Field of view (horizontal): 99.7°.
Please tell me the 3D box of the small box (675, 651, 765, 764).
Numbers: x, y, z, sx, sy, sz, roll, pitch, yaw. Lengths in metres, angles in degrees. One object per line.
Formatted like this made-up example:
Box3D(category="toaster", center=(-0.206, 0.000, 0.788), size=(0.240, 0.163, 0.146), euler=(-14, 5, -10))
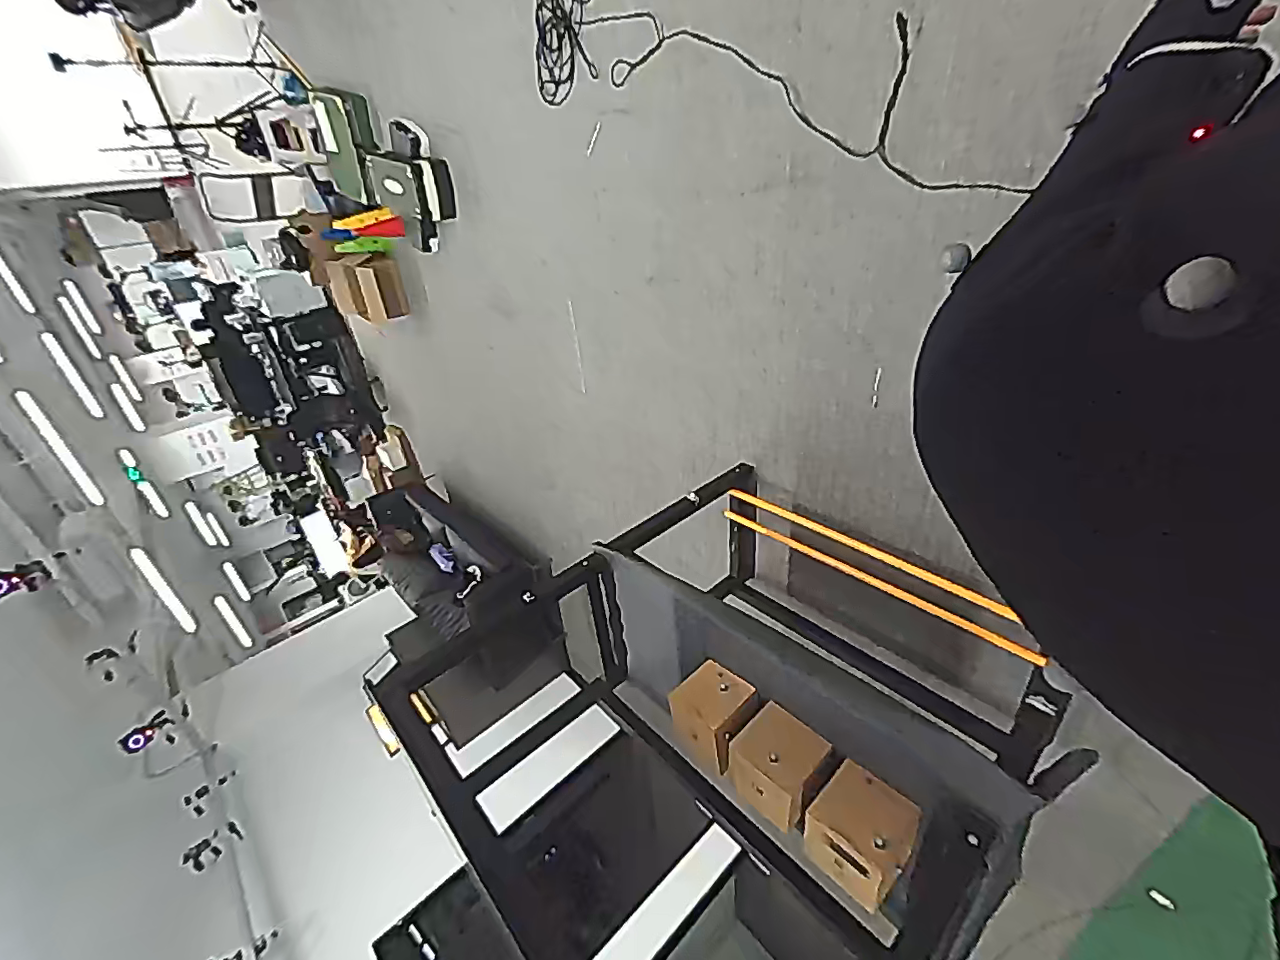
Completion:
Box3D(category="small box", center=(0.218, 0.599, 1.441), size=(0.168, 0.176, 0.179), euler=(20, 129, 45))
